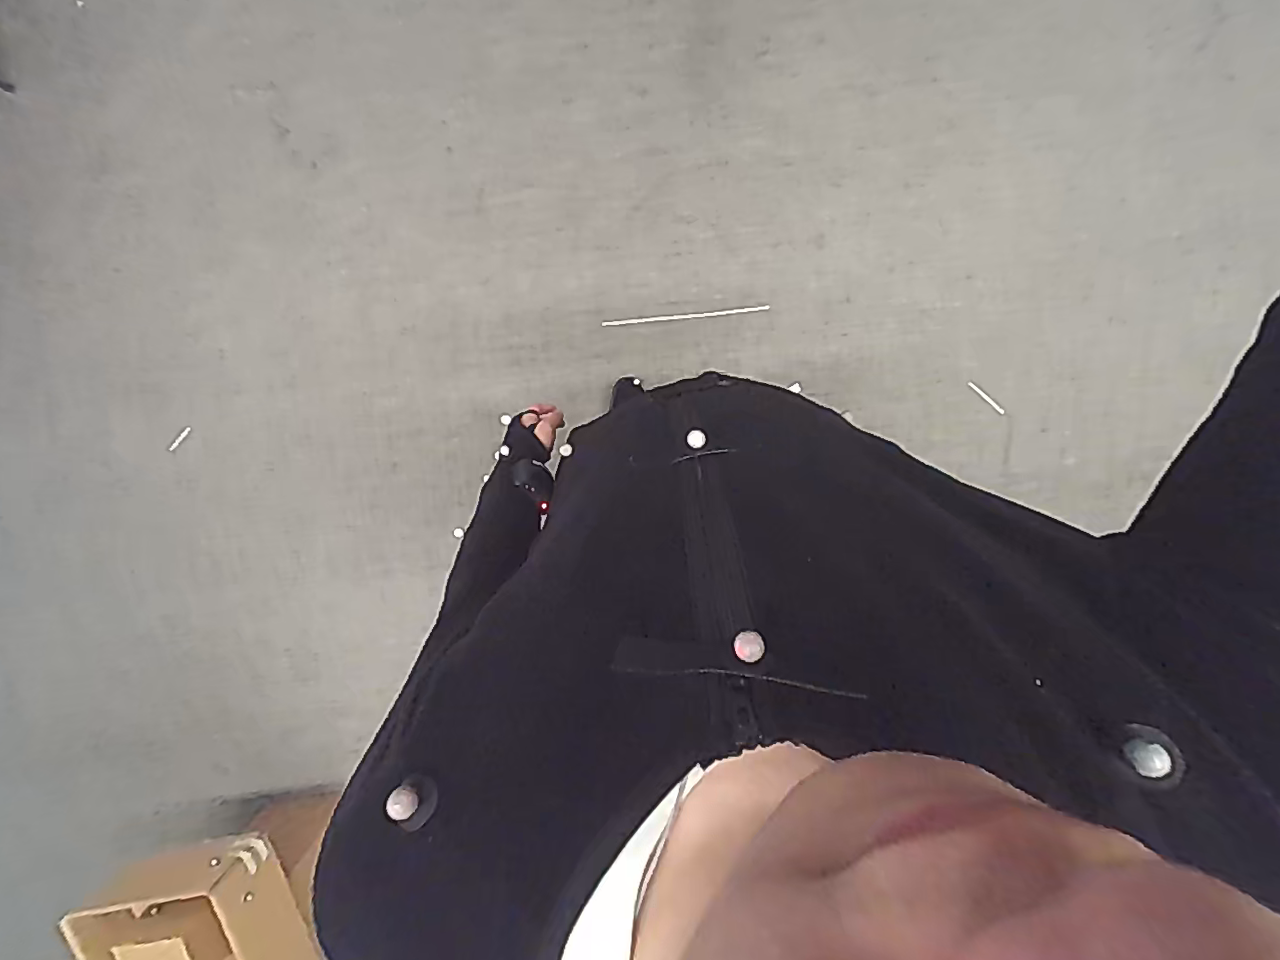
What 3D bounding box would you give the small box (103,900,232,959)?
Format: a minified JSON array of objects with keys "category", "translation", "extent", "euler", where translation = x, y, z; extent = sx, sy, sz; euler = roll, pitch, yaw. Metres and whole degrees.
[{"category":"small box","translation":[-1.154,1.173,1.314],"extent":[0.179,0.176,0.168],"euler":[-10,100,1]}]
